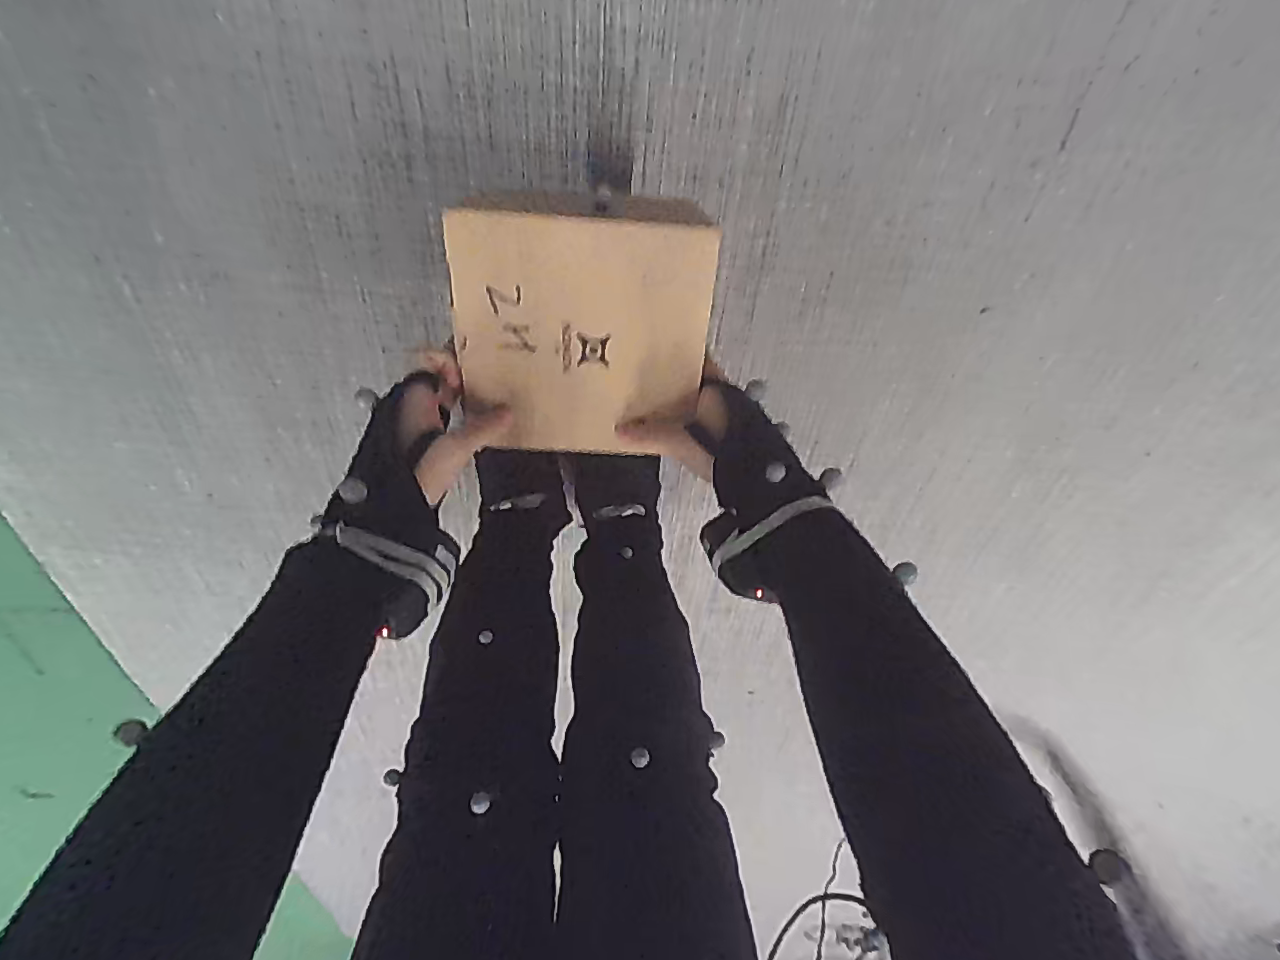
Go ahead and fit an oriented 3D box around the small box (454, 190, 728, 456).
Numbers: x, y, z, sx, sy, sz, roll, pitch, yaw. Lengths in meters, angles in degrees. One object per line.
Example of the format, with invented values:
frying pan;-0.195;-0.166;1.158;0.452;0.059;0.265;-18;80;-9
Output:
small box;-0.039;-0.135;0.448;0.179;0.176;0.168;4;123;-4
